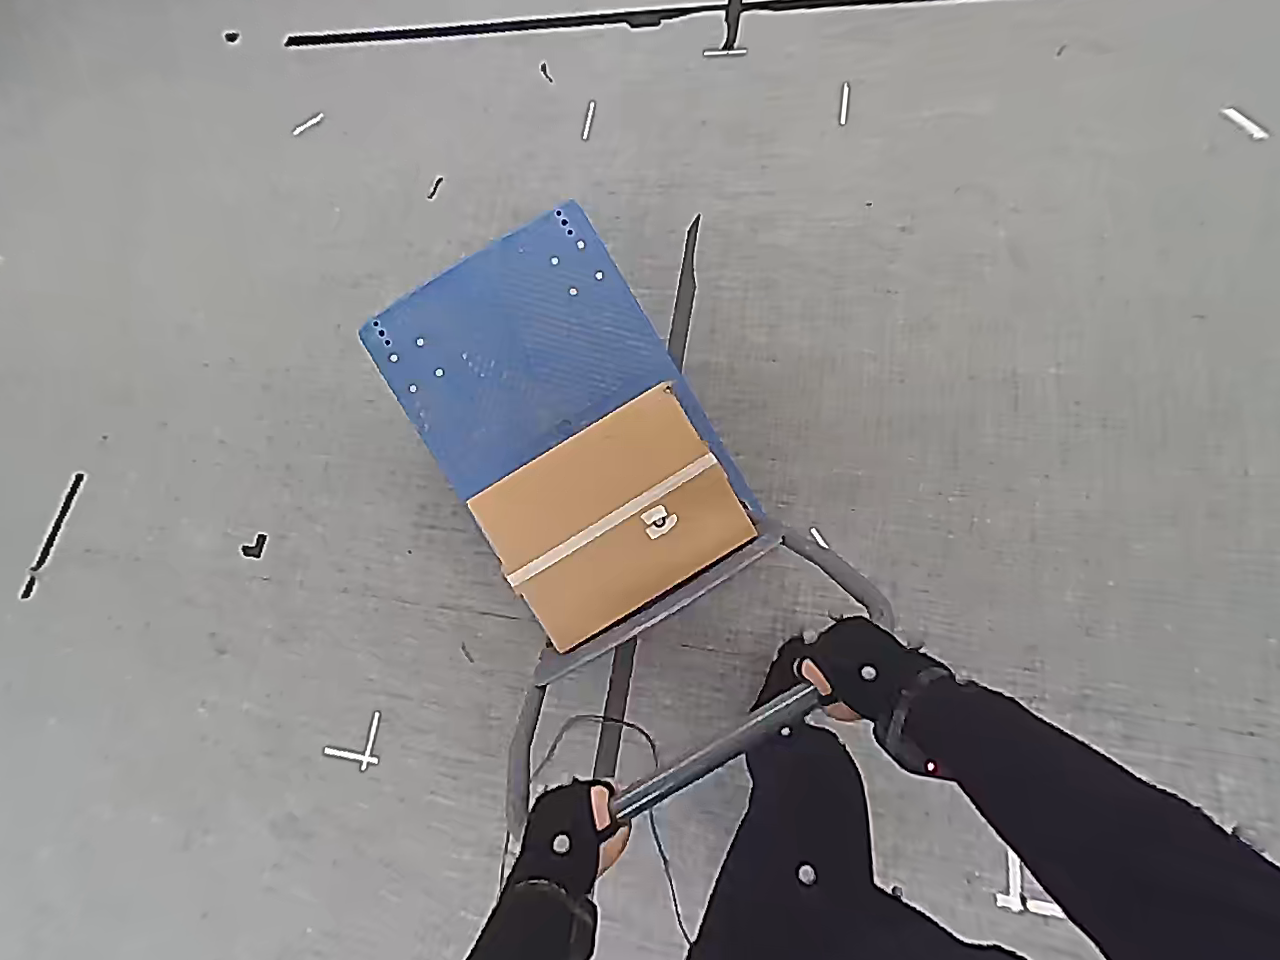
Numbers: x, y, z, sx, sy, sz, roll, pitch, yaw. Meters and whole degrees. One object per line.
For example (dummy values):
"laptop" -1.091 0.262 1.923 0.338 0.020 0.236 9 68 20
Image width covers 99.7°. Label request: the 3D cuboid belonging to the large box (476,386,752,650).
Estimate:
"large box" -0.049 0.068 1.099 0.408 0.320 0.320 -32 92 -1
